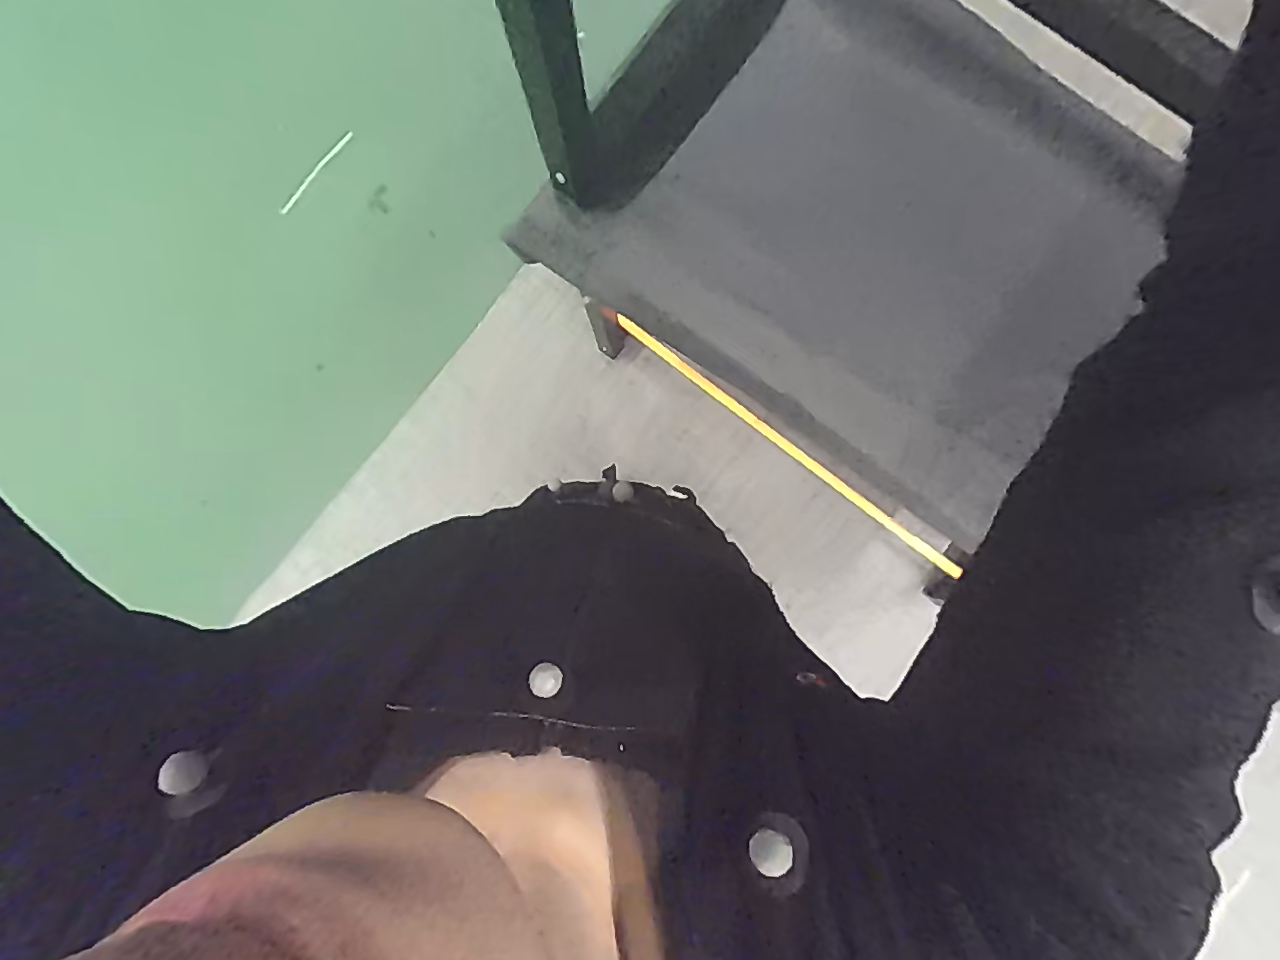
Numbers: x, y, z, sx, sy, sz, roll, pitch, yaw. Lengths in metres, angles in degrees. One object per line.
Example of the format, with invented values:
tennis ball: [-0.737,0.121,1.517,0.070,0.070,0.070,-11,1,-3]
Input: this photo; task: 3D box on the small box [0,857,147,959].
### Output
small box: [-1.428,1.122,1.369,0.168,0.176,0.179,42,87,3]
